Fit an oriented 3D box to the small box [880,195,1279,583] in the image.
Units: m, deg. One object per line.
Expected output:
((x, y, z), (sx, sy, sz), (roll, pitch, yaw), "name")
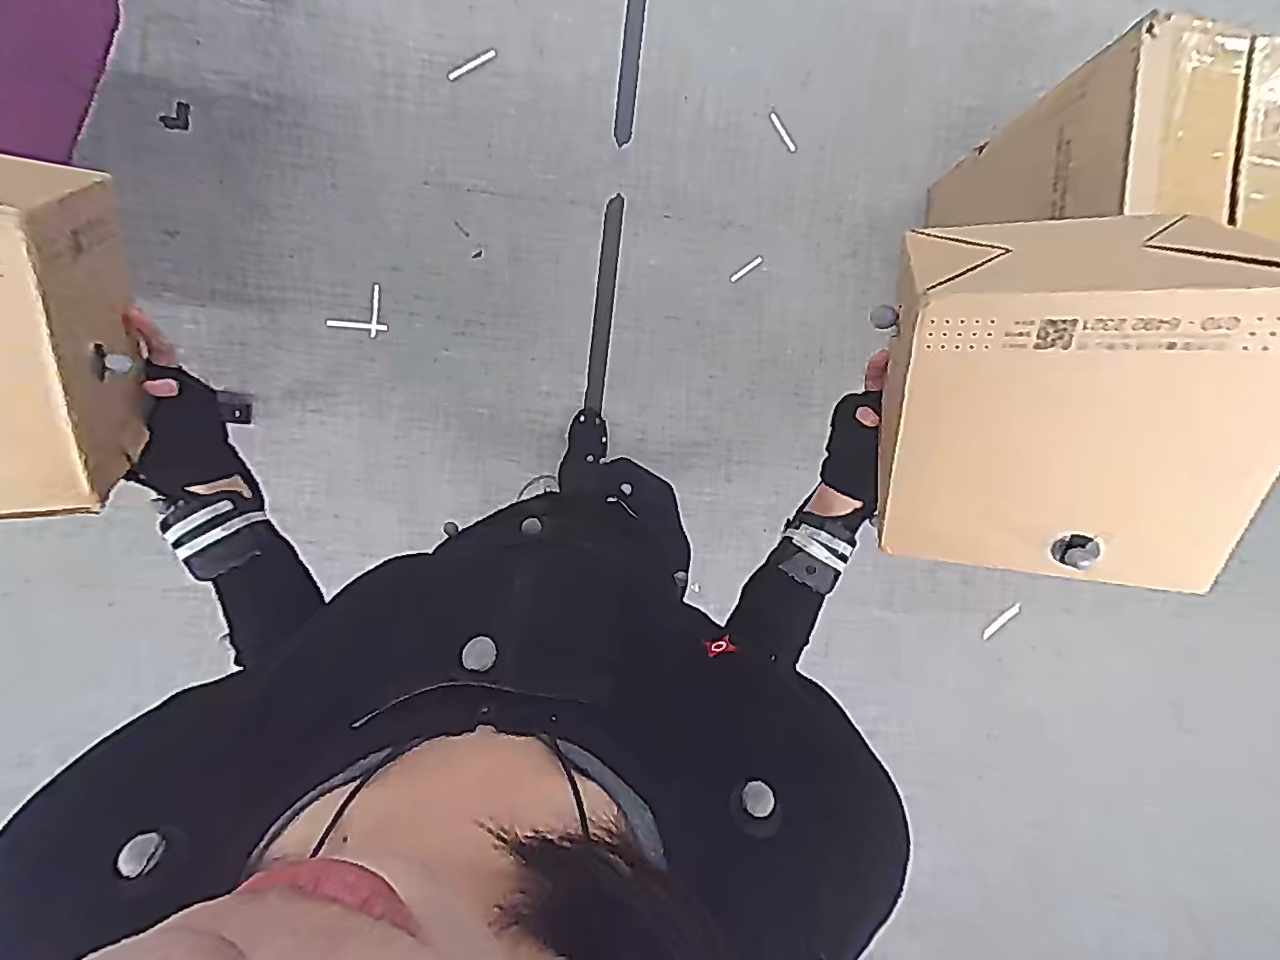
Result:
((0.247, -0.067, 0.334), (0.168, 0.179, 0.176), (5, 126, 21), "small box")

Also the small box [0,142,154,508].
((-0.402, -0.095, 0.286), (0.179, 0.168, 0.176), (-2, 120, -31), "small box")
